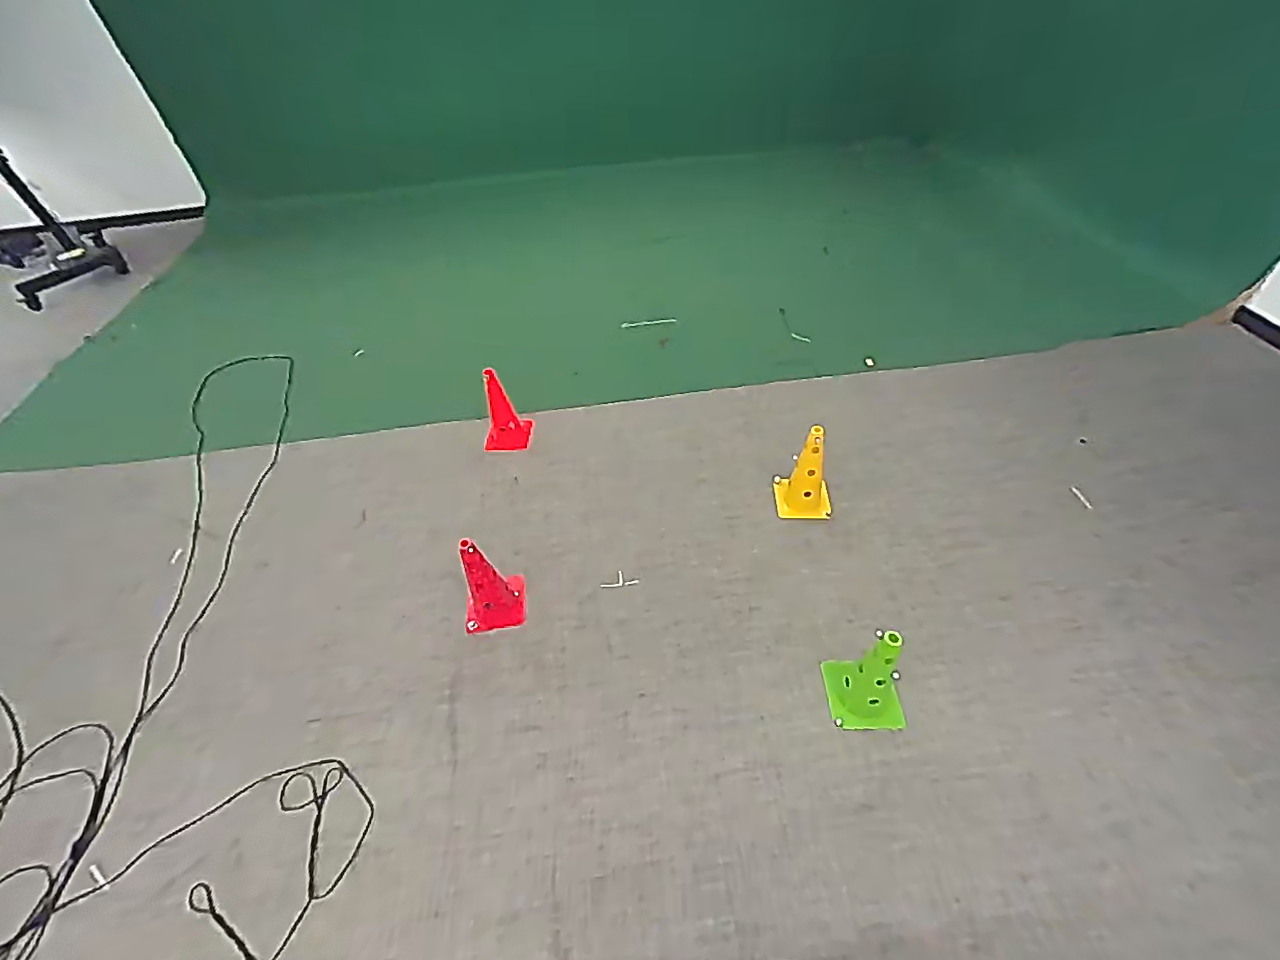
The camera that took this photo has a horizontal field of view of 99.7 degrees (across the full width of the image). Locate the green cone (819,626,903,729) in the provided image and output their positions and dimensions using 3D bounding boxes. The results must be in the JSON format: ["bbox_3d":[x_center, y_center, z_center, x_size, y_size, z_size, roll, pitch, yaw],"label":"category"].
[{"bbox_3d":[0.635,0.506,1.461,0.200,0.368,0.202,-2,46,2],"label":"green cone"}]

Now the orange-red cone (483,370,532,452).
[{"bbox_3d":[-0.611,-0.314,2.324,0.199,0.360,0.198,-3,46,5],"label":"orange-red cone"}]
